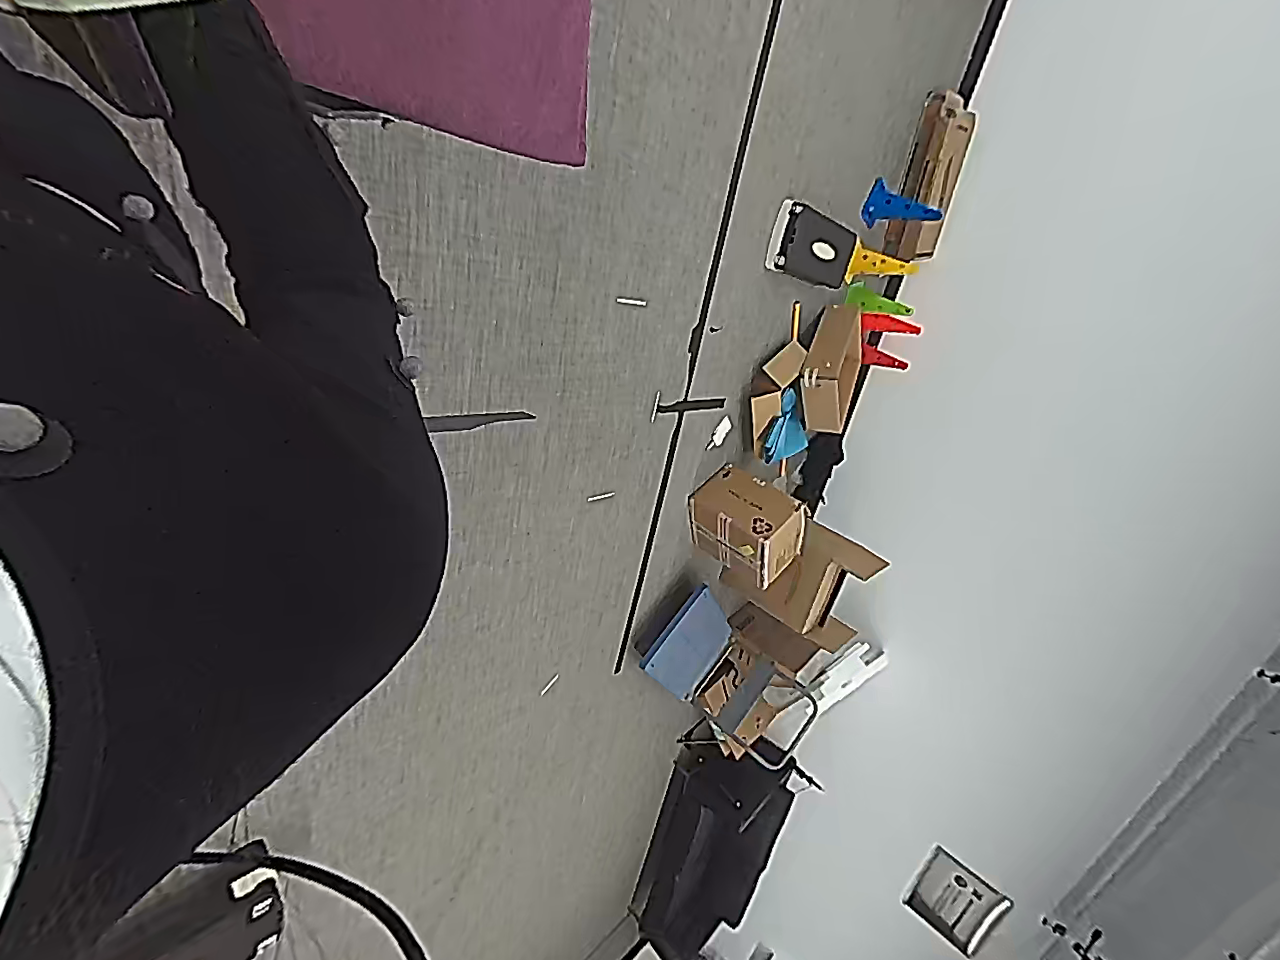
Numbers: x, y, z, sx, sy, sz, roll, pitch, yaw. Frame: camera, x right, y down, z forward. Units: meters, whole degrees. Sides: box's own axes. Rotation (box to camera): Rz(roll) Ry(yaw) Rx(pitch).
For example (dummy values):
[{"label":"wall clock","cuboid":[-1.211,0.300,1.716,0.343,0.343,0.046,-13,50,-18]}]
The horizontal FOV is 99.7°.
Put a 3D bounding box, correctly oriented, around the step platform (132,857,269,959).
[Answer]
[{"label":"step platform","cuboid":[-1.429,1.393,1.480,0.684,0.204,0.286,-14,125,-48]}]
